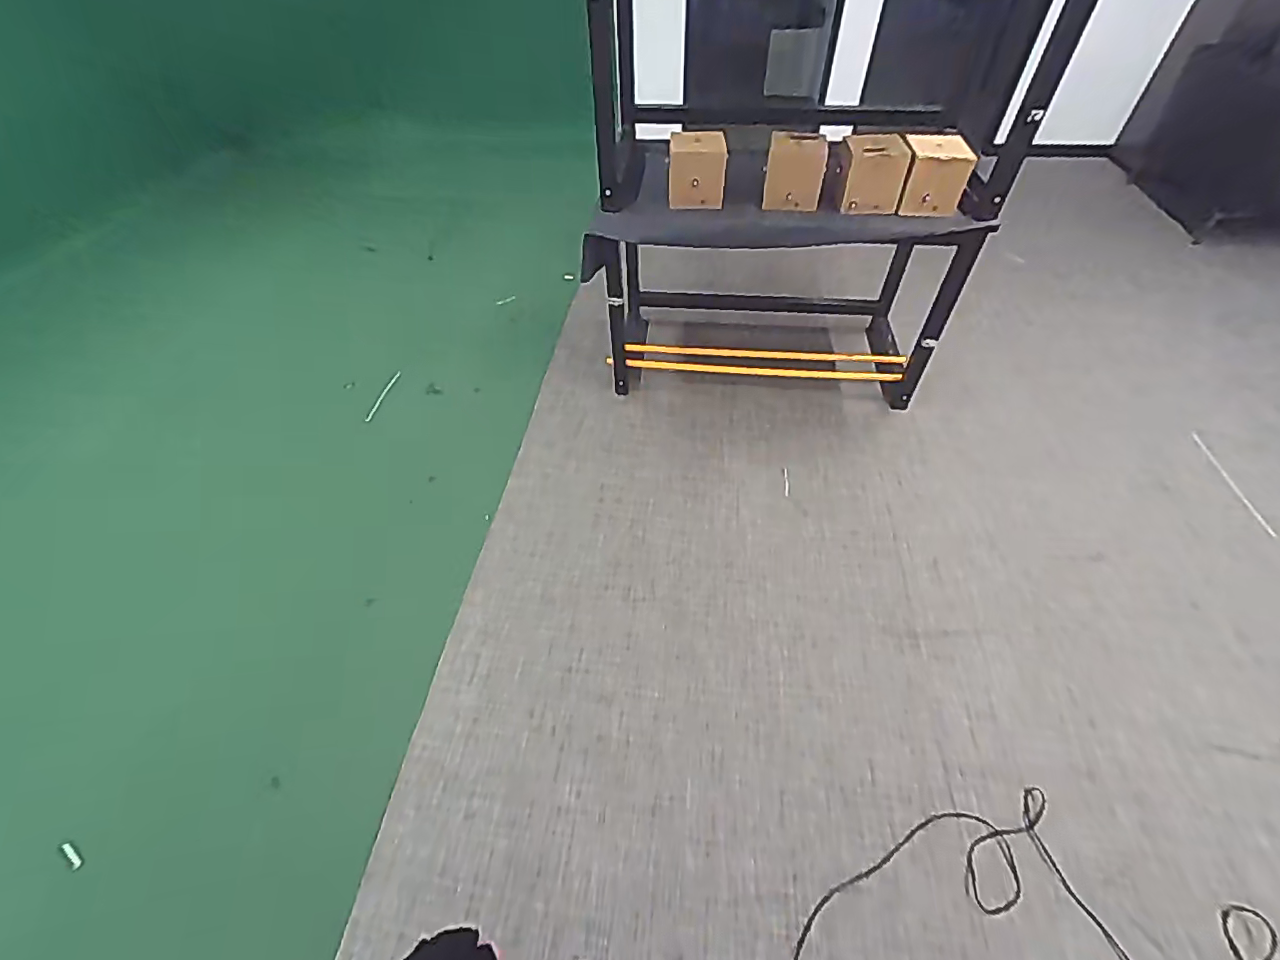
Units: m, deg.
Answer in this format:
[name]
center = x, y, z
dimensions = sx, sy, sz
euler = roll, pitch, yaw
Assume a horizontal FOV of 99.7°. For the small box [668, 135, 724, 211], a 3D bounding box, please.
[small box]
center = 0.173, -0.965, 1.704
dimensions = 0.168, 0.176, 0.179
euler = 1, 48, 1
